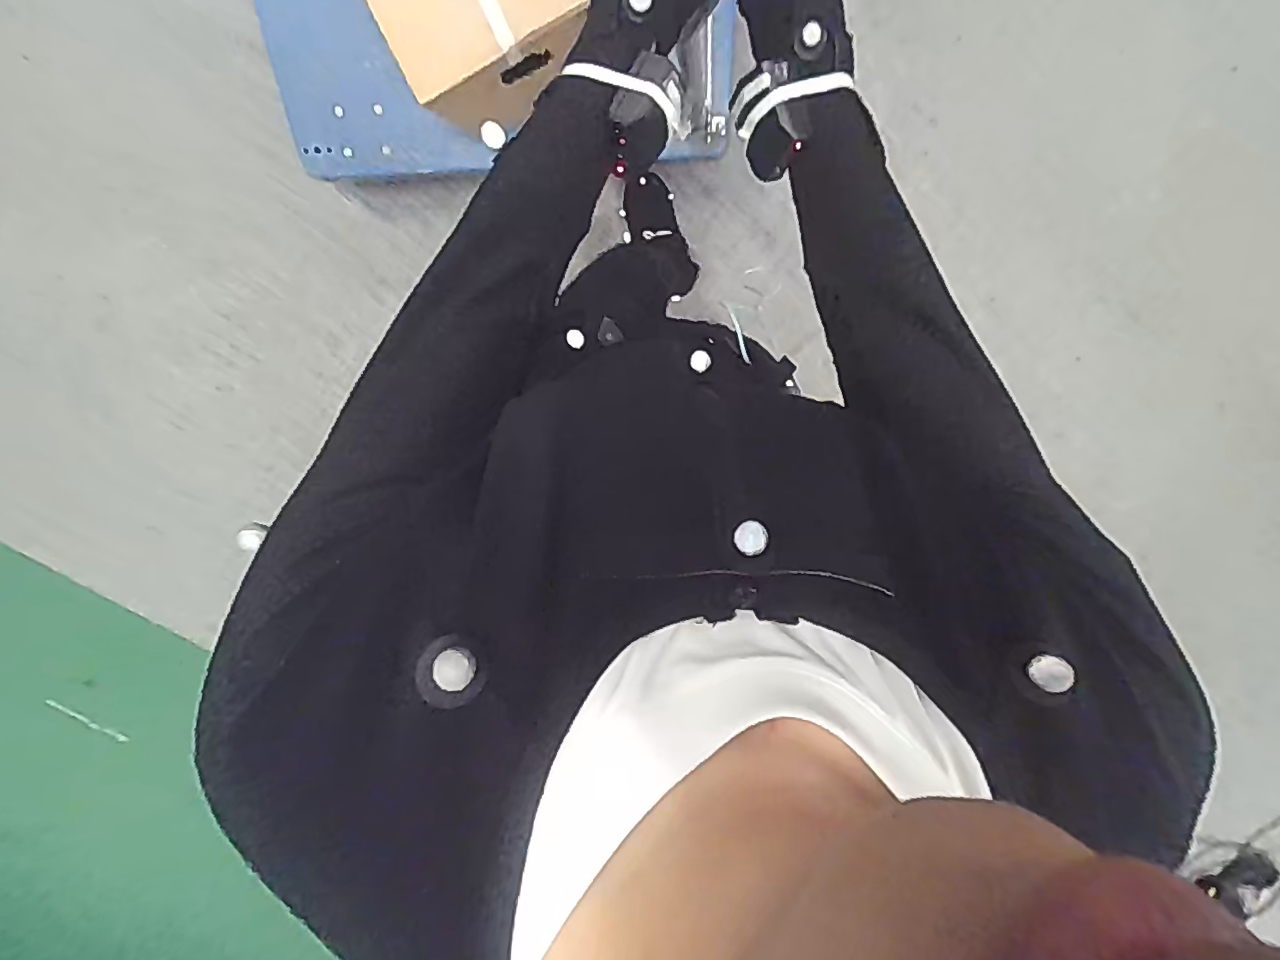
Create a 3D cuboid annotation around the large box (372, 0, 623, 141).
[{"bbox_3d":[-0.254,-0.832,0.842,0.320,0.320,0.408,-22,111,13],"label":"large box"}]
